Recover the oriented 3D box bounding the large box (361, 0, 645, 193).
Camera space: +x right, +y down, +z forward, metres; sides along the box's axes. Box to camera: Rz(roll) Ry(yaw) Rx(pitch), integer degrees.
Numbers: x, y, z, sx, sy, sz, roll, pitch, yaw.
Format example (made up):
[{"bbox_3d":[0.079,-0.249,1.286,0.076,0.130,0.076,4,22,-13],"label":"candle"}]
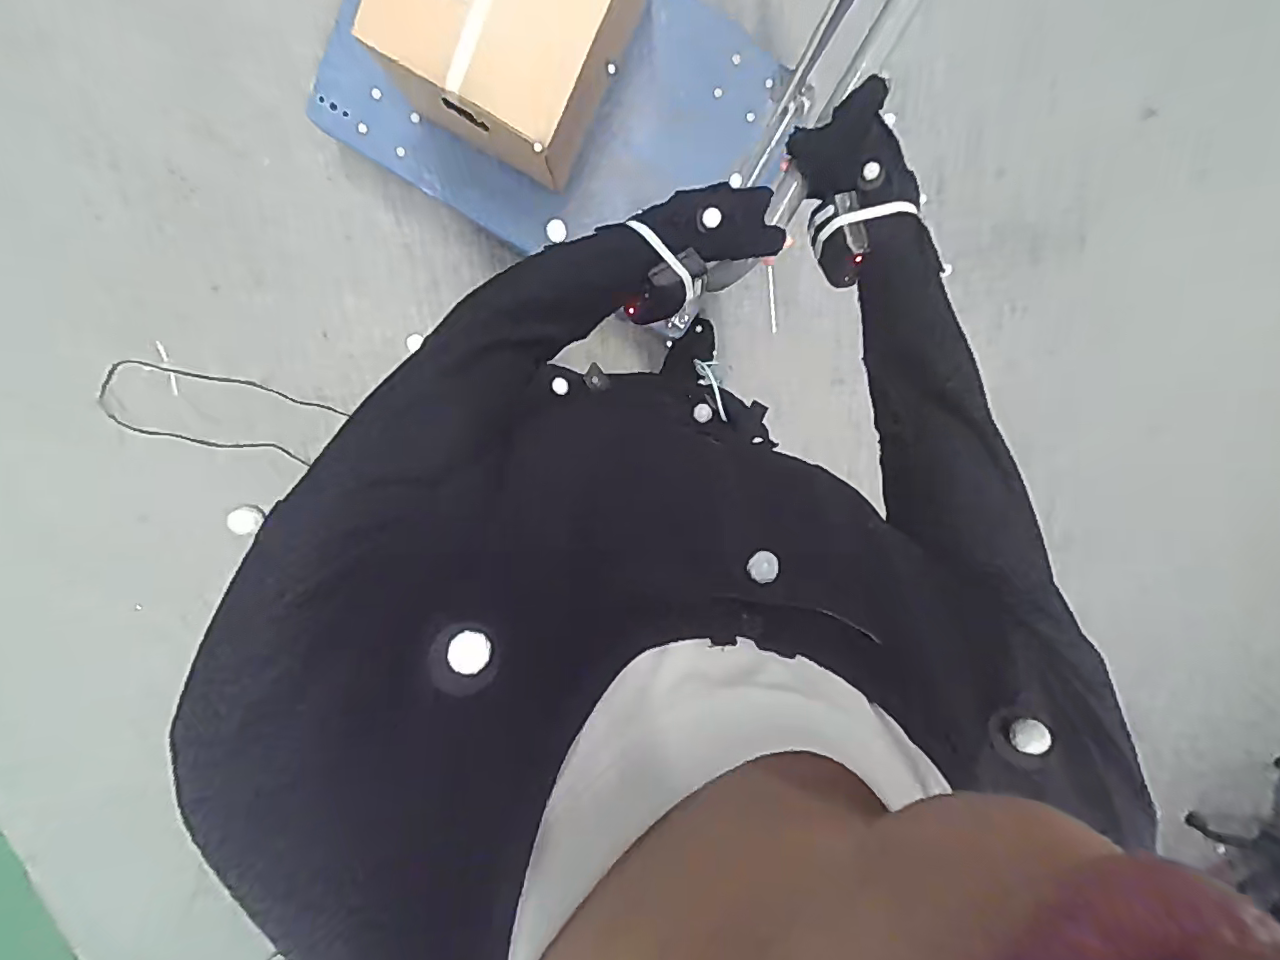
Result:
[{"bbox_3d":[-0.198,-0.789,0.919,0.320,0.320,0.408,27,103,-10],"label":"large box"}]
